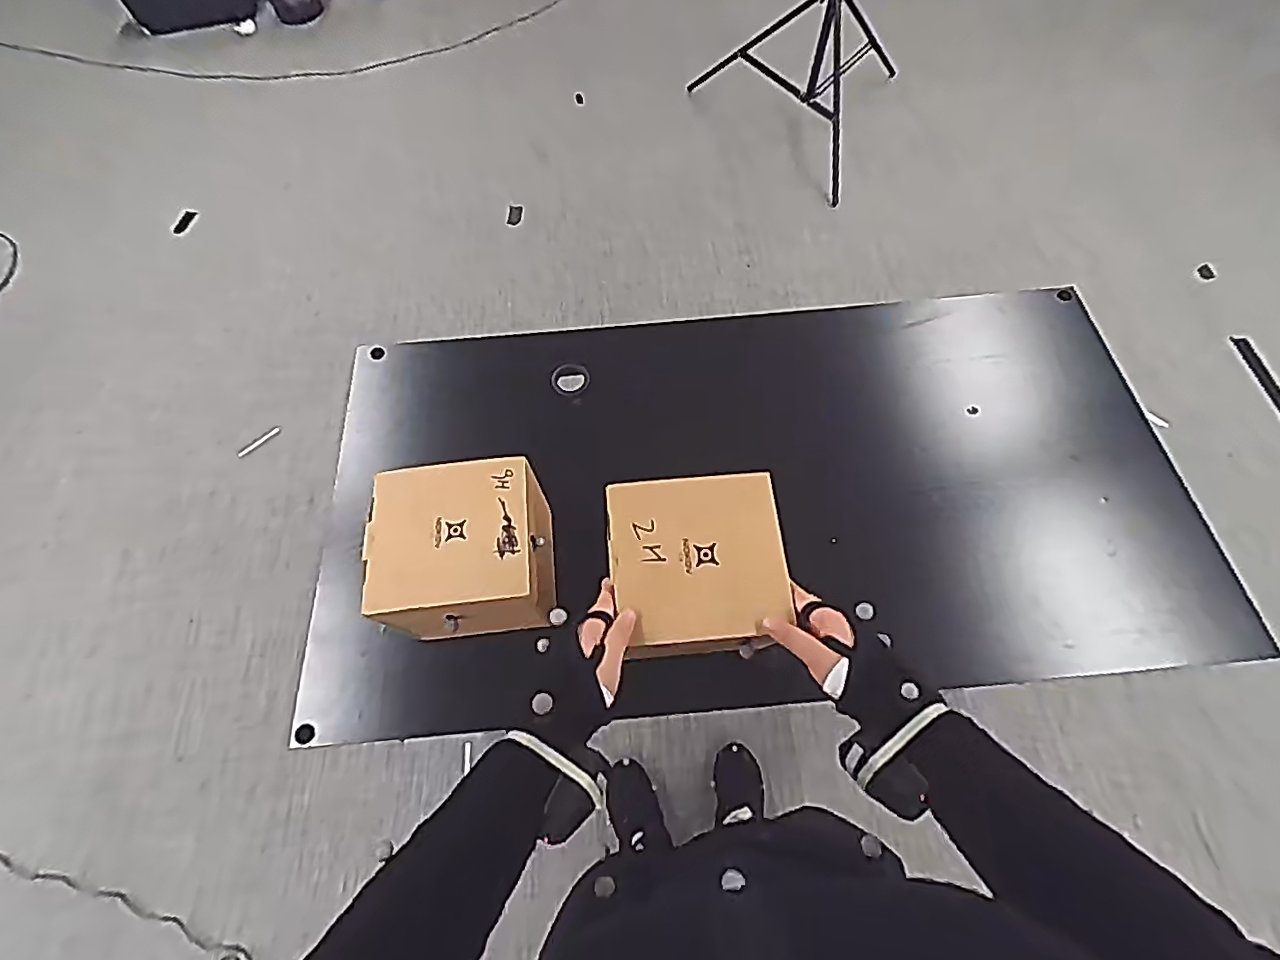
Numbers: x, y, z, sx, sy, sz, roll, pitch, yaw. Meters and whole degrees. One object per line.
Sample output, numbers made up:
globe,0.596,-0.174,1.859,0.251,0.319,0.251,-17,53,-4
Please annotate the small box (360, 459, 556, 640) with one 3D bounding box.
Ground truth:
small box,-0.208,0.092,0.662,0.179,0.176,0.168,-7,65,-1

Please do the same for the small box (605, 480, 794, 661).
small box,0.055,0.109,0.613,0.179,0.176,0.168,-5,68,-1
